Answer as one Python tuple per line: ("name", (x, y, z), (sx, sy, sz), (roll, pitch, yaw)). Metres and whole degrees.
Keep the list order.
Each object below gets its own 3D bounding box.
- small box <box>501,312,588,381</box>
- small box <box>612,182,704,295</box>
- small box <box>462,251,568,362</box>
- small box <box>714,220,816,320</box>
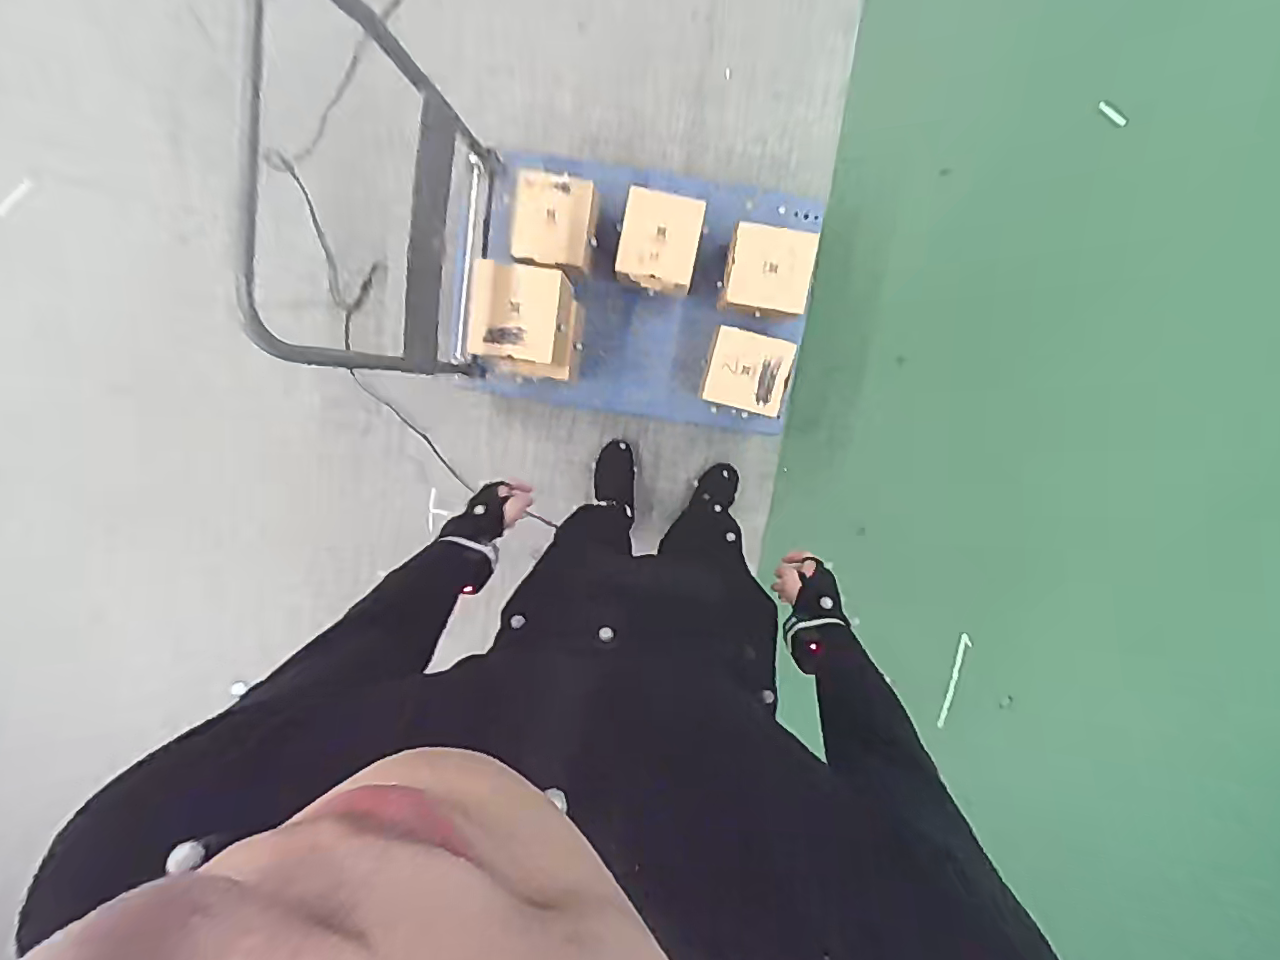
("small box", (-0.245, -0.344, 1.265), (0.179, 0.176, 0.168), (39, 99, -4))
("small box", (0.037, -0.536, 1.221), (0.168, 0.176, 0.179), (13, 100, -1))
("small box", (-0.244, -0.339, 1.092), (0.168, 0.176, 0.179), (9, 99, -1))
("small box", (0.273, -0.468, 1.229), (0.179, 0.176, 0.168), (10, 100, -1))
